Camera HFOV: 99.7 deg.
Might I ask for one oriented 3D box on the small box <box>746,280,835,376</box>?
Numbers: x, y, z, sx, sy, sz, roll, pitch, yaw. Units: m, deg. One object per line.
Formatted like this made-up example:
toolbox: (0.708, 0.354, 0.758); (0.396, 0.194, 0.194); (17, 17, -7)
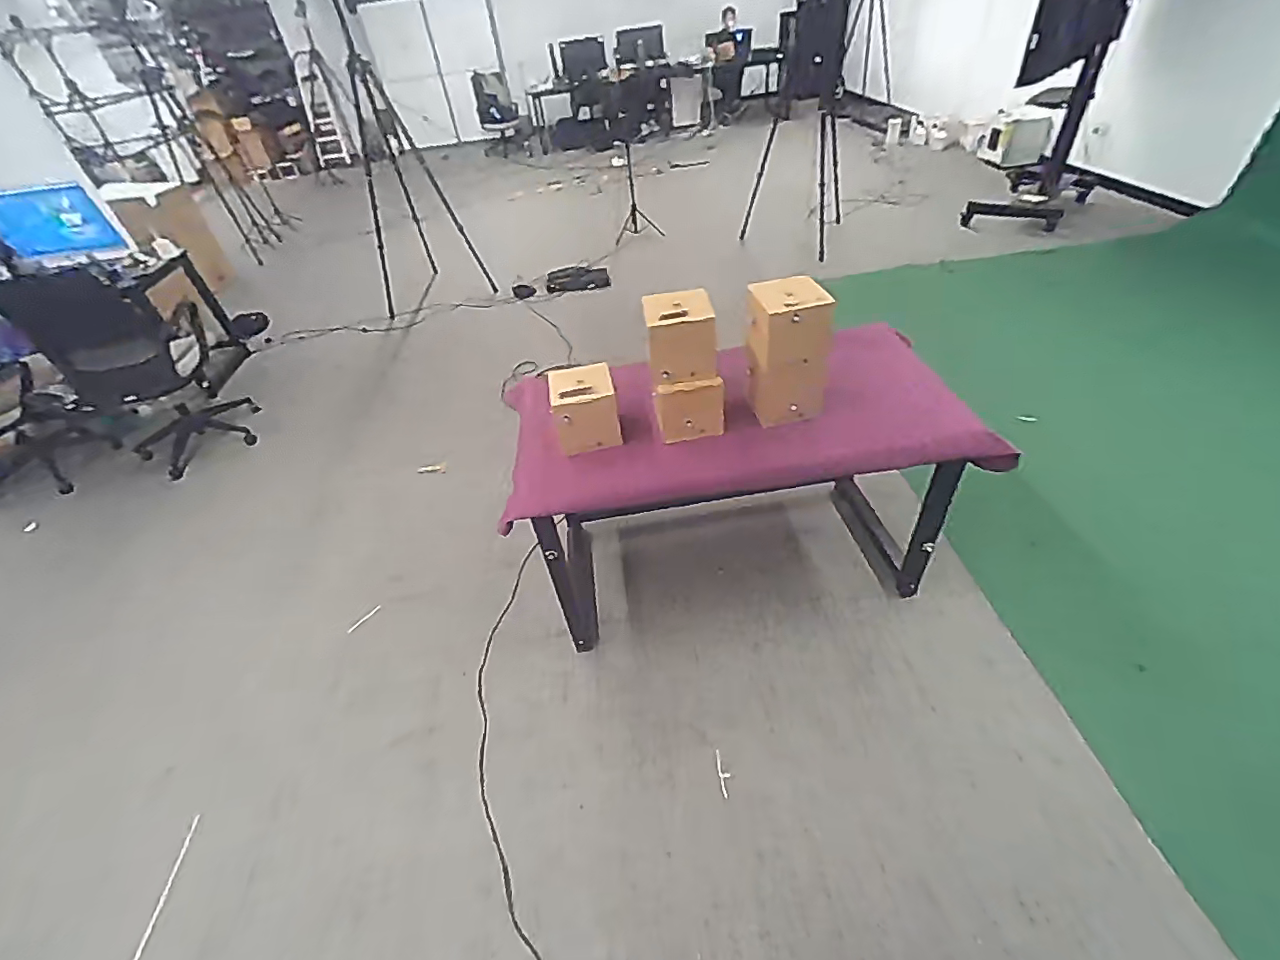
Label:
small box: (0.371, -0.385, 1.374); (0.168, 0.176, 0.179); (-12, 41, -3)

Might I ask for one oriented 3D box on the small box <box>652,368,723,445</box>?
small box: (0.125, -0.220, 1.478); (0.168, 0.176, 0.179); (-10, 42, -2)

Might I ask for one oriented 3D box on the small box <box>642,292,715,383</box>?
small box: (0.099, -0.361, 1.391); (0.168, 0.176, 0.179); (-7, 41, 1)

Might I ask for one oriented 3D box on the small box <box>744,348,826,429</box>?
small box: (0.387, -0.263, 1.482); (0.168, 0.176, 0.179); (-11, 42, -3)
